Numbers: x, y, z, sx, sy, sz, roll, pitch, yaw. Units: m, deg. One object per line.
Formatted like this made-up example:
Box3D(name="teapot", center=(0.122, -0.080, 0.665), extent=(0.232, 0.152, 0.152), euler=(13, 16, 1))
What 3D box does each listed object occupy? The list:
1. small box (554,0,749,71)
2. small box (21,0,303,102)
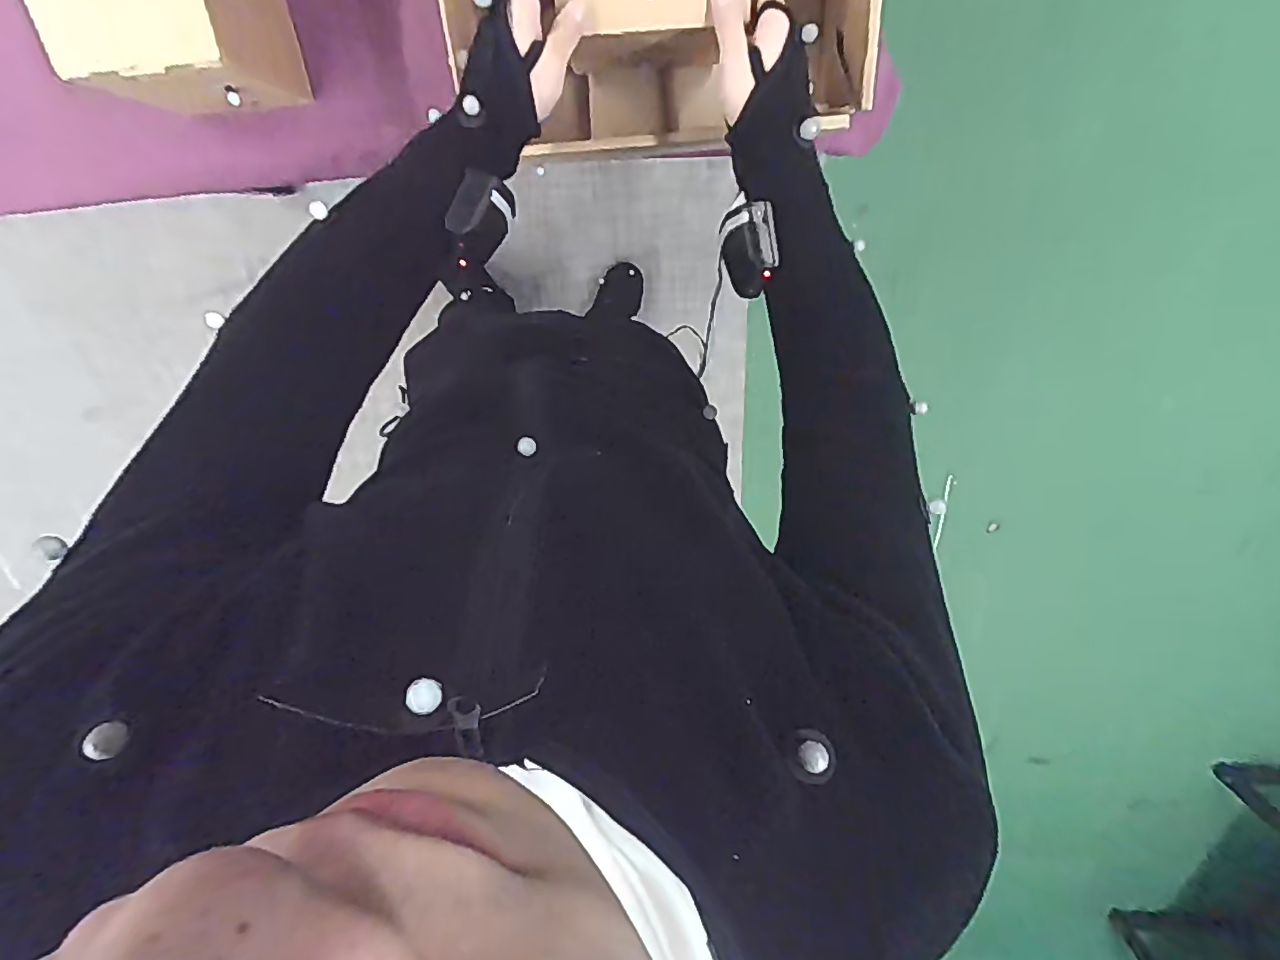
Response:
Box3D(name="small box", center=(0.004, -0.496, 0.487), extent=(0.168, 0.176, 0.179), euler=(-3, 118, 0))
Box3D(name="small box", center=(-0.489, -0.508, 0.555), extent=(0.168, 0.176, 0.179), euler=(-4, 114, 0))
